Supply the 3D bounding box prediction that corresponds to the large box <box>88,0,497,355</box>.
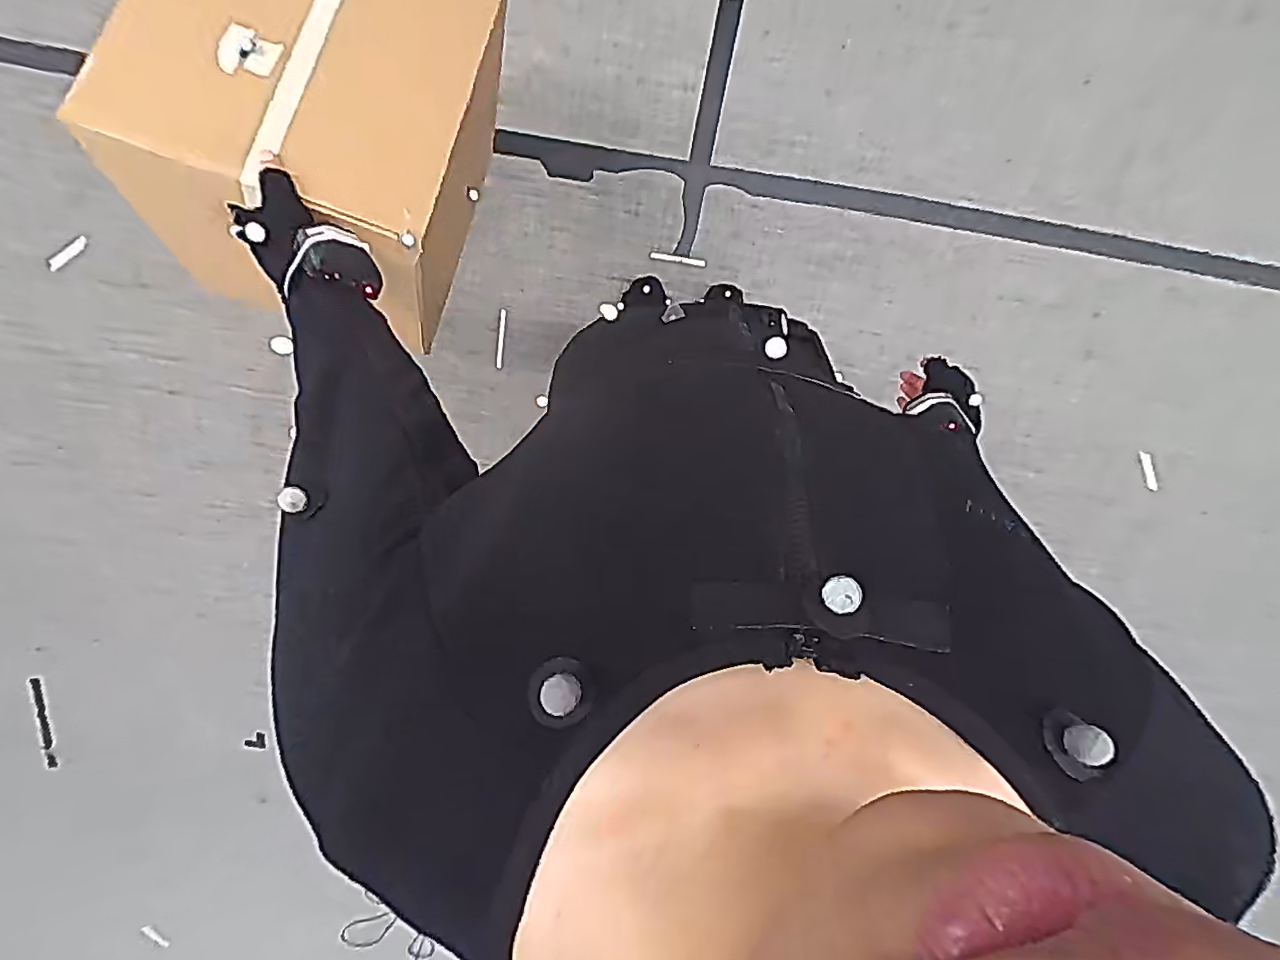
[{"bbox_3d":[-0.401,-0.447,0.738,0.320,0.320,0.408,14,76,-15],"label":"large box"}]
